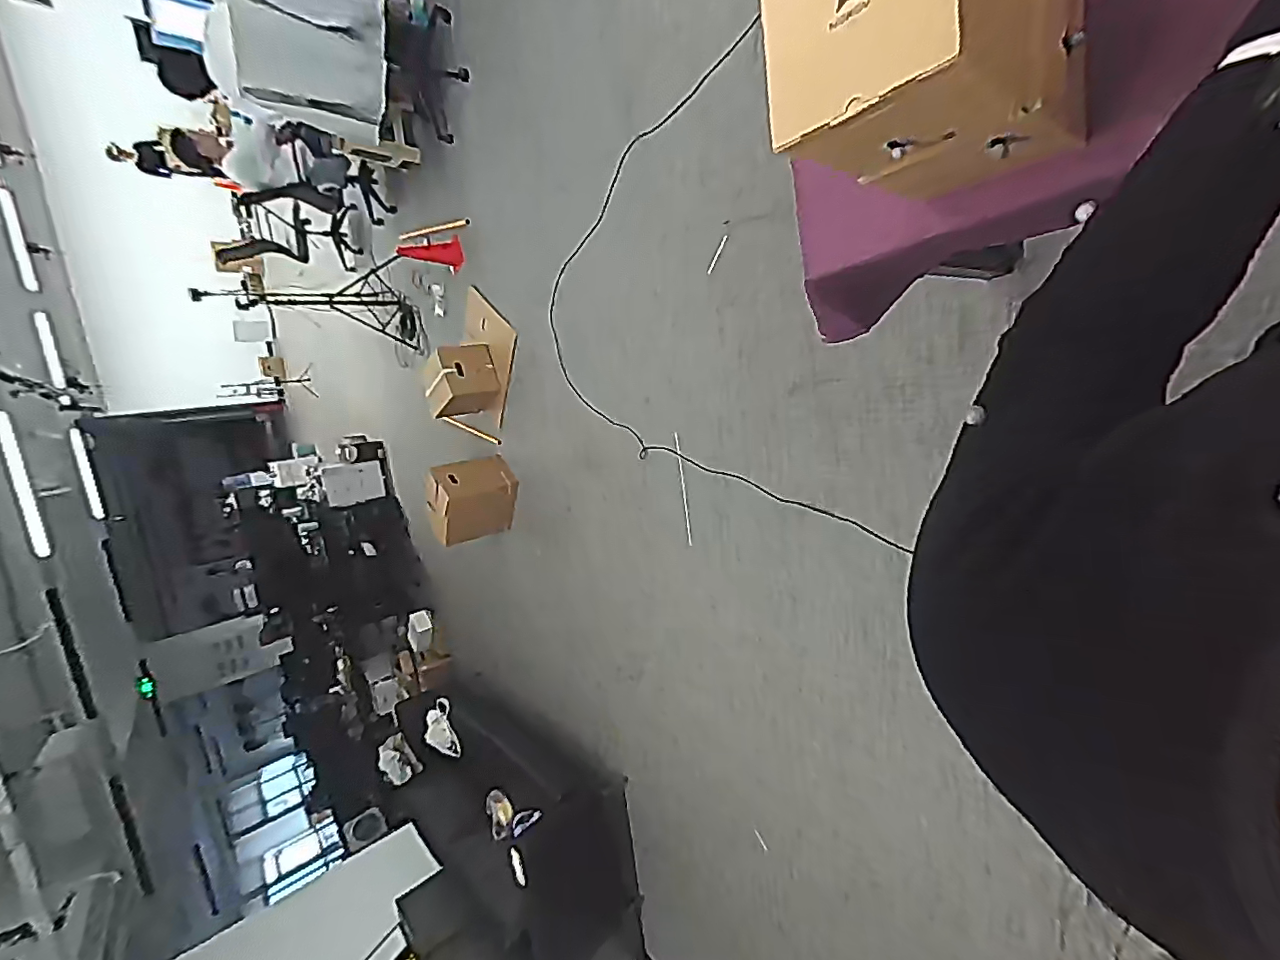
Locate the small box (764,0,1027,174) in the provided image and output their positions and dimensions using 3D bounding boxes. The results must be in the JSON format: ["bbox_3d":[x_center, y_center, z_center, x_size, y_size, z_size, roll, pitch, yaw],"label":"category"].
[{"bbox_3d":[0.235,-0.413,0.499,0.168,0.176,0.179,4,105,51],"label":"small box"}]

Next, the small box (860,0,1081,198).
[{"bbox_3d":[0.363,-0.435,0.598,0.179,0.176,0.168,3,103,51],"label":"small box"}]
